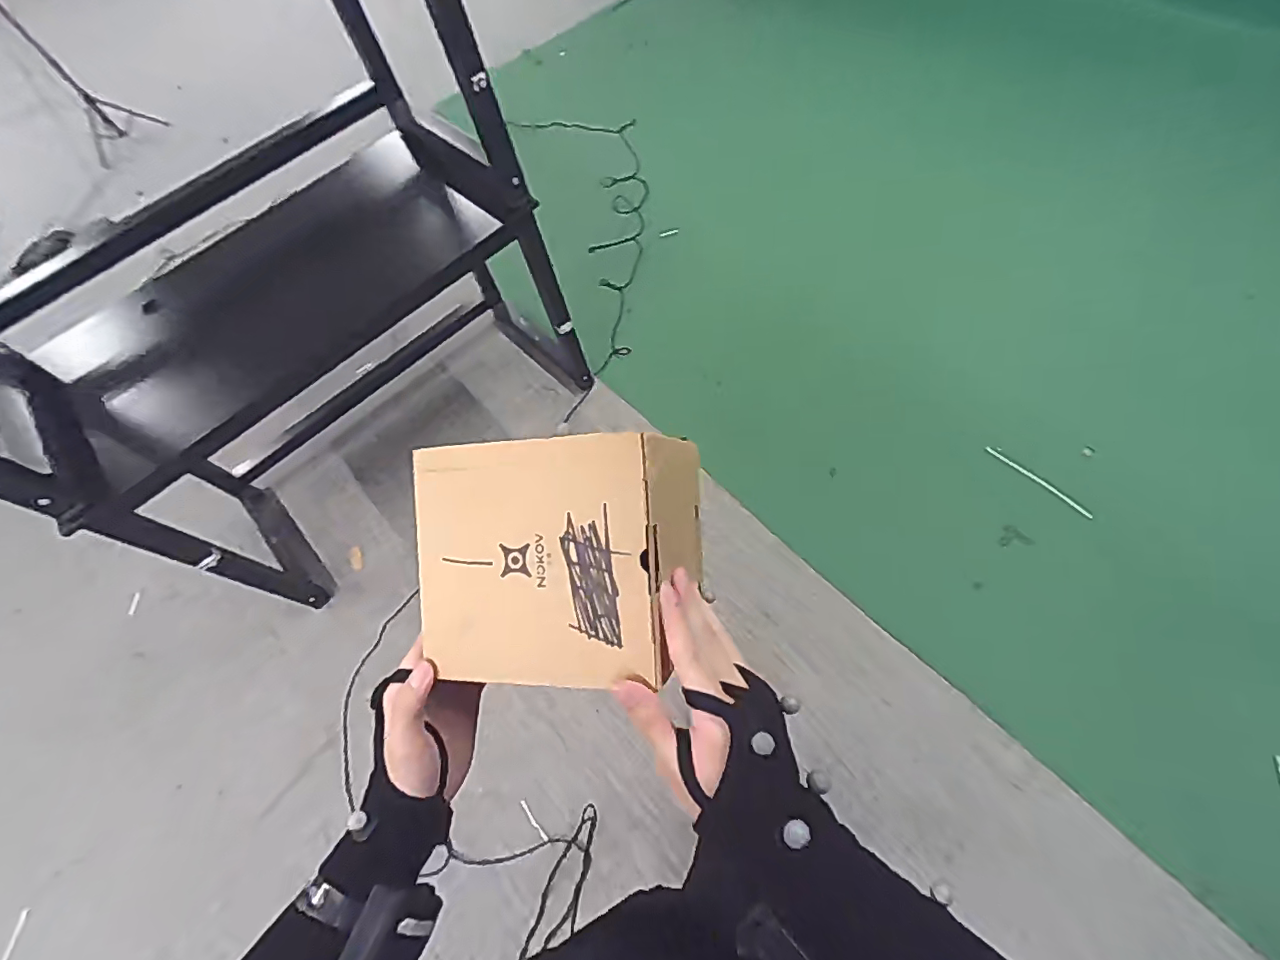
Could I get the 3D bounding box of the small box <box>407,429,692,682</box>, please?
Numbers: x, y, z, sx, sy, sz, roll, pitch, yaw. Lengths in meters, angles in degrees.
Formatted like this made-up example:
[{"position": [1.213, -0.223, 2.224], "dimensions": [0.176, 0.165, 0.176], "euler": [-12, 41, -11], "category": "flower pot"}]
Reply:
[{"position": [-0.057, 0.049, 0.439], "dimensions": [0.179, 0.176, 0.168], "euler": [-3, 90, 17], "category": "small box"}]
